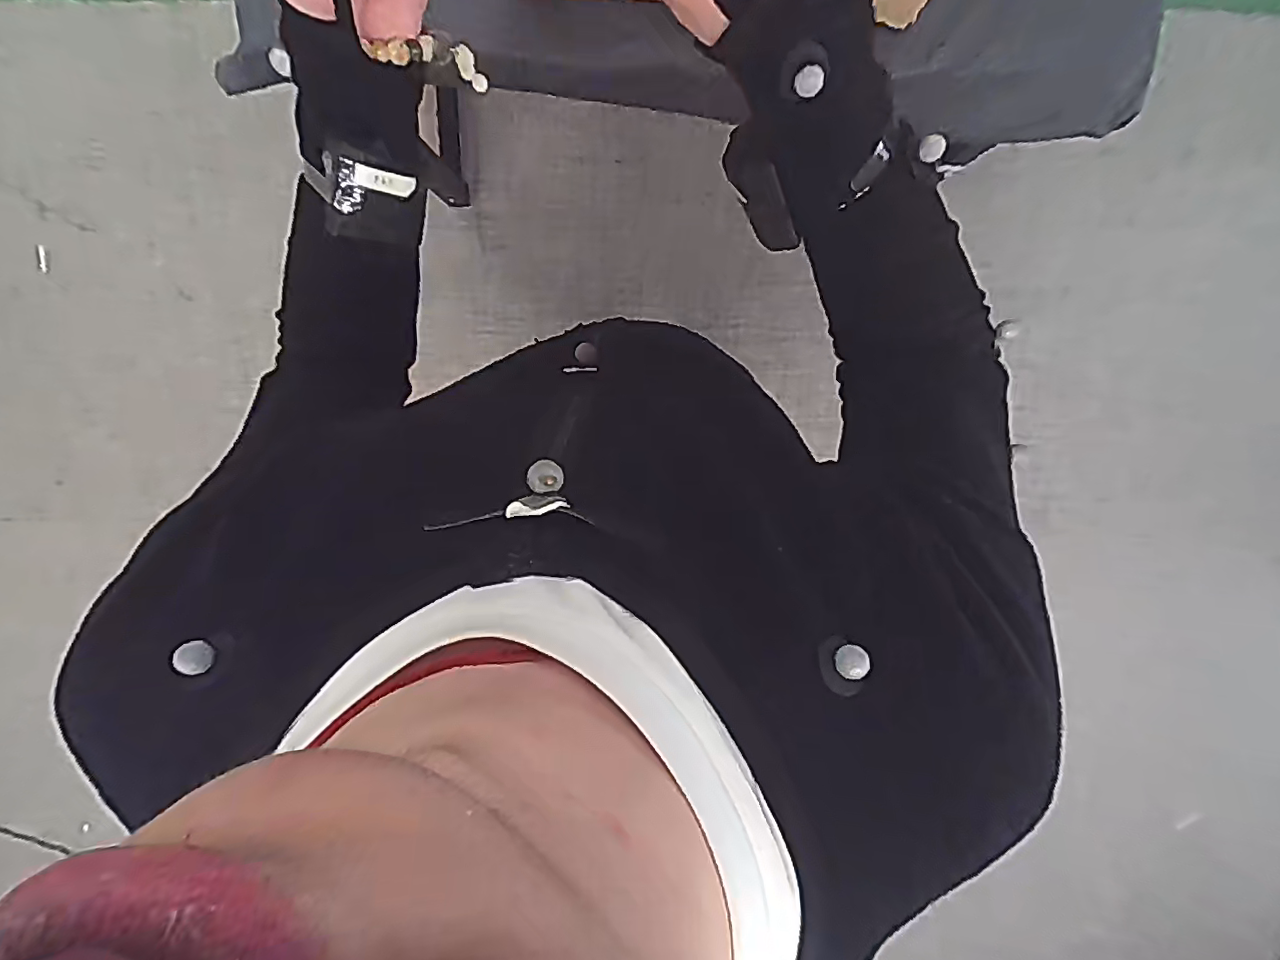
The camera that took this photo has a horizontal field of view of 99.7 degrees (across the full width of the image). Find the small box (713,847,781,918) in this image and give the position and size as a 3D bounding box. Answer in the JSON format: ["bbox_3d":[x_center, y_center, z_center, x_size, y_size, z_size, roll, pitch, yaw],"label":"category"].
[{"bbox_3d":[0.354,1.329,1.737,0.179,0.176,0.168,-21,102,2],"label":"small box"}]

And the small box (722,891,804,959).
[{"bbox_3d":[0.351,1.353,1.584,0.179,0.176,0.168,13,103,-4],"label":"small box"}]
